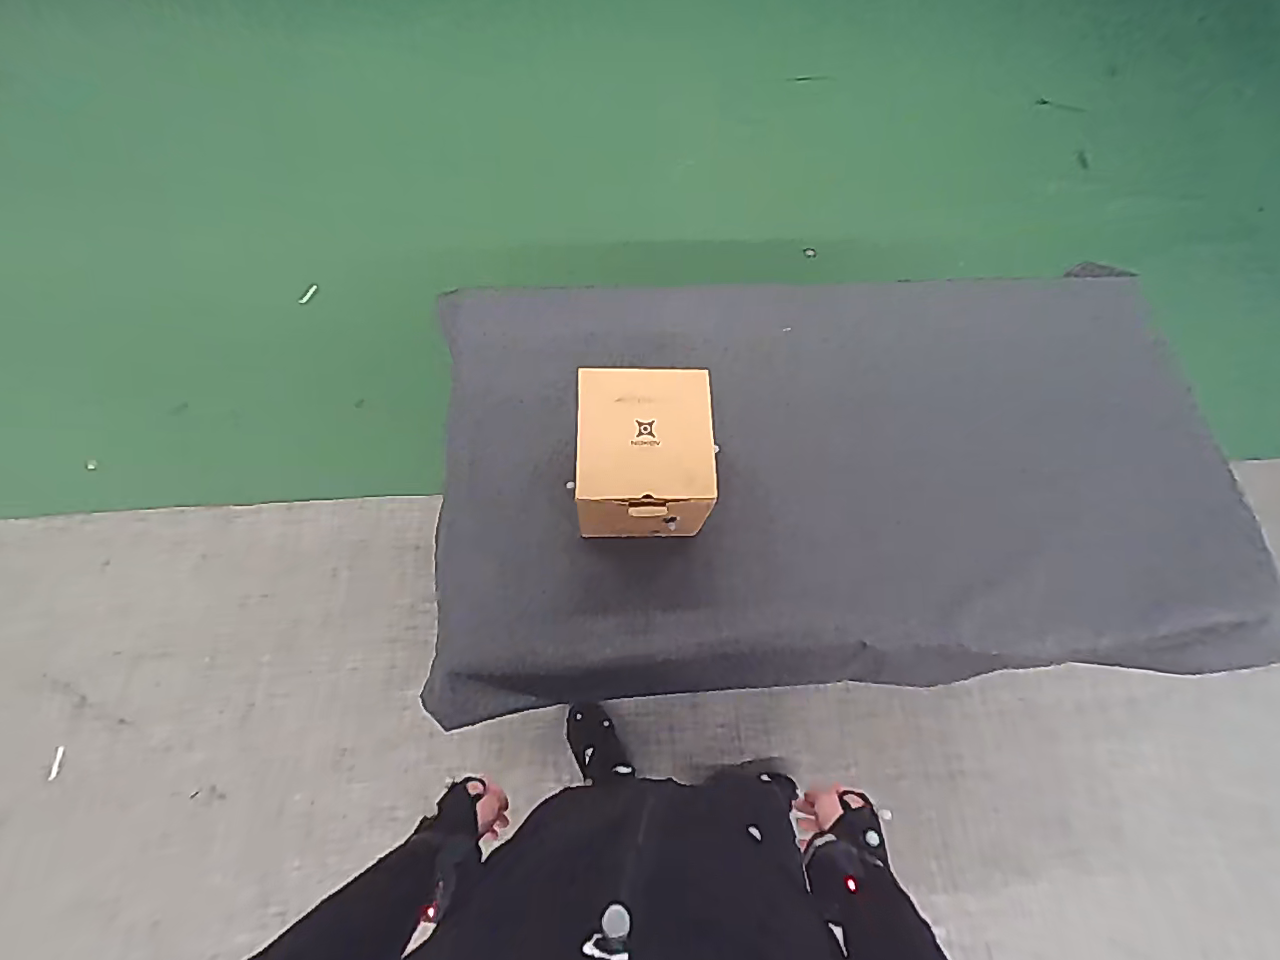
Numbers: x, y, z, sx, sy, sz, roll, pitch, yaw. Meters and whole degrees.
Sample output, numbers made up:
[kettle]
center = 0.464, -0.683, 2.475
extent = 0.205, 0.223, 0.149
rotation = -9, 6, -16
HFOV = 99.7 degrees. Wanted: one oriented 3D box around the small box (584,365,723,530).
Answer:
[small box]
center = 0.011, -0.034, 0.728
extent = 0.168, 0.176, 0.179
rotation = 1, 69, -5
